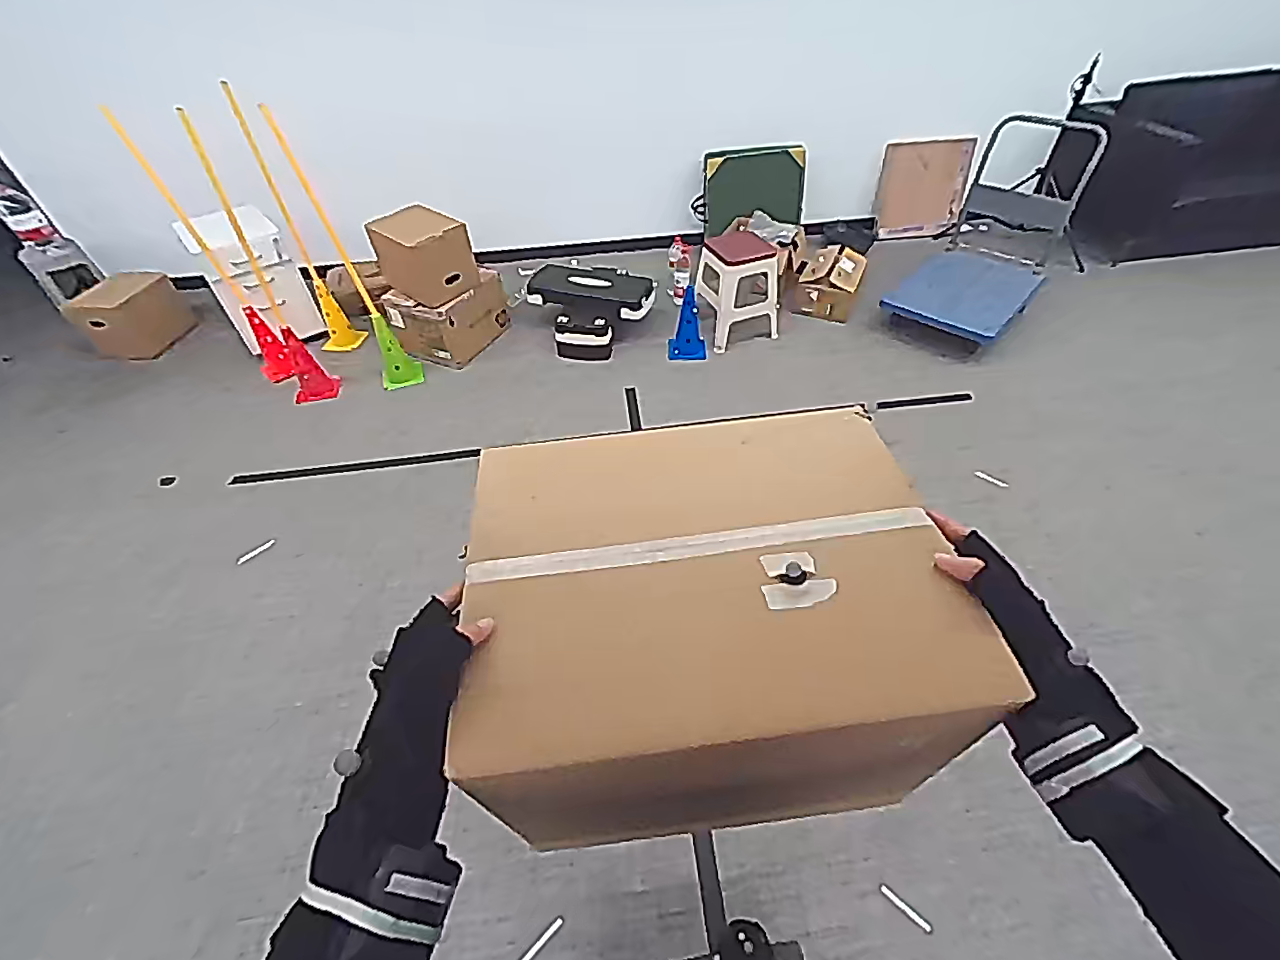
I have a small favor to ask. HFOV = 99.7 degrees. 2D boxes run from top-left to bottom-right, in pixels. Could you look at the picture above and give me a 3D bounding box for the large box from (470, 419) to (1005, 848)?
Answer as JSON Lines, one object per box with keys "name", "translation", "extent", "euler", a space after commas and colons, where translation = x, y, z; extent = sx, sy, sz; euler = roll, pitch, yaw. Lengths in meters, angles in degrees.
{"name": "large box", "translation": [0.063, 0.168, 0.595], "extent": [0.408, 0.320, 0.320], "euler": [-7, 48, -2]}
